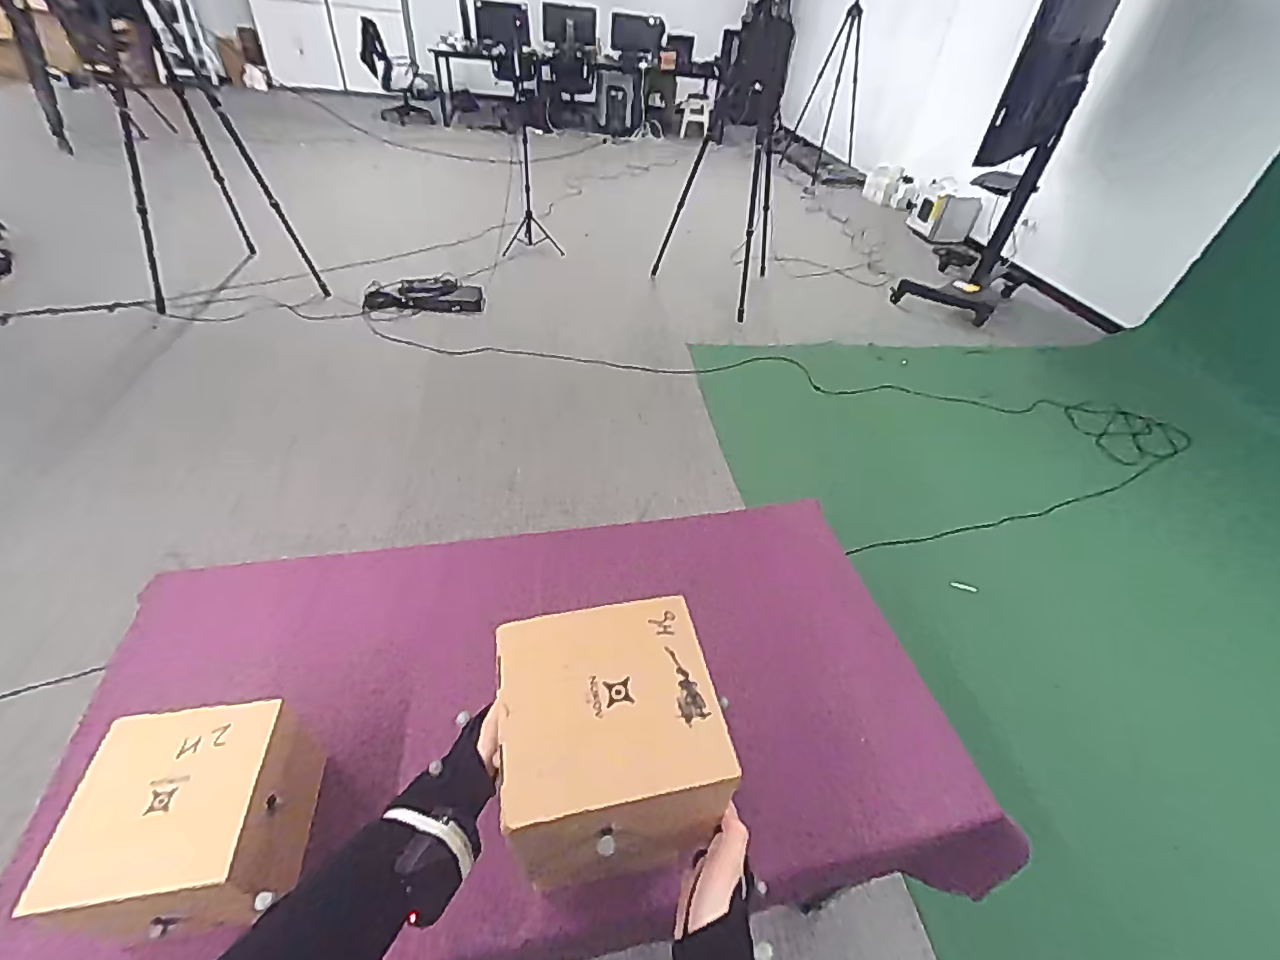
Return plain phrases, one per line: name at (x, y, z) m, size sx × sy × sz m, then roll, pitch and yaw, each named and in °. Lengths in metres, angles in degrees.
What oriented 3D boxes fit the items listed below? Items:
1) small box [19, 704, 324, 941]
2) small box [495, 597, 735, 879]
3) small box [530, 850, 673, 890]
small box at (-0.473, 0.374, 0.589) m, size 0.168 × 0.176 × 0.179 m, roll -3°, pitch 43°, yaw -10°
small box at (-0.029, 0.234, 0.493) m, size 0.179 × 0.176 × 0.168 m, roll -7°, pitch 44°, yaw -9°
small box at (-0.049, 0.364, 0.651) m, size 0.179 × 0.176 × 0.168 m, roll -4°, pitch 43°, yaw -11°
